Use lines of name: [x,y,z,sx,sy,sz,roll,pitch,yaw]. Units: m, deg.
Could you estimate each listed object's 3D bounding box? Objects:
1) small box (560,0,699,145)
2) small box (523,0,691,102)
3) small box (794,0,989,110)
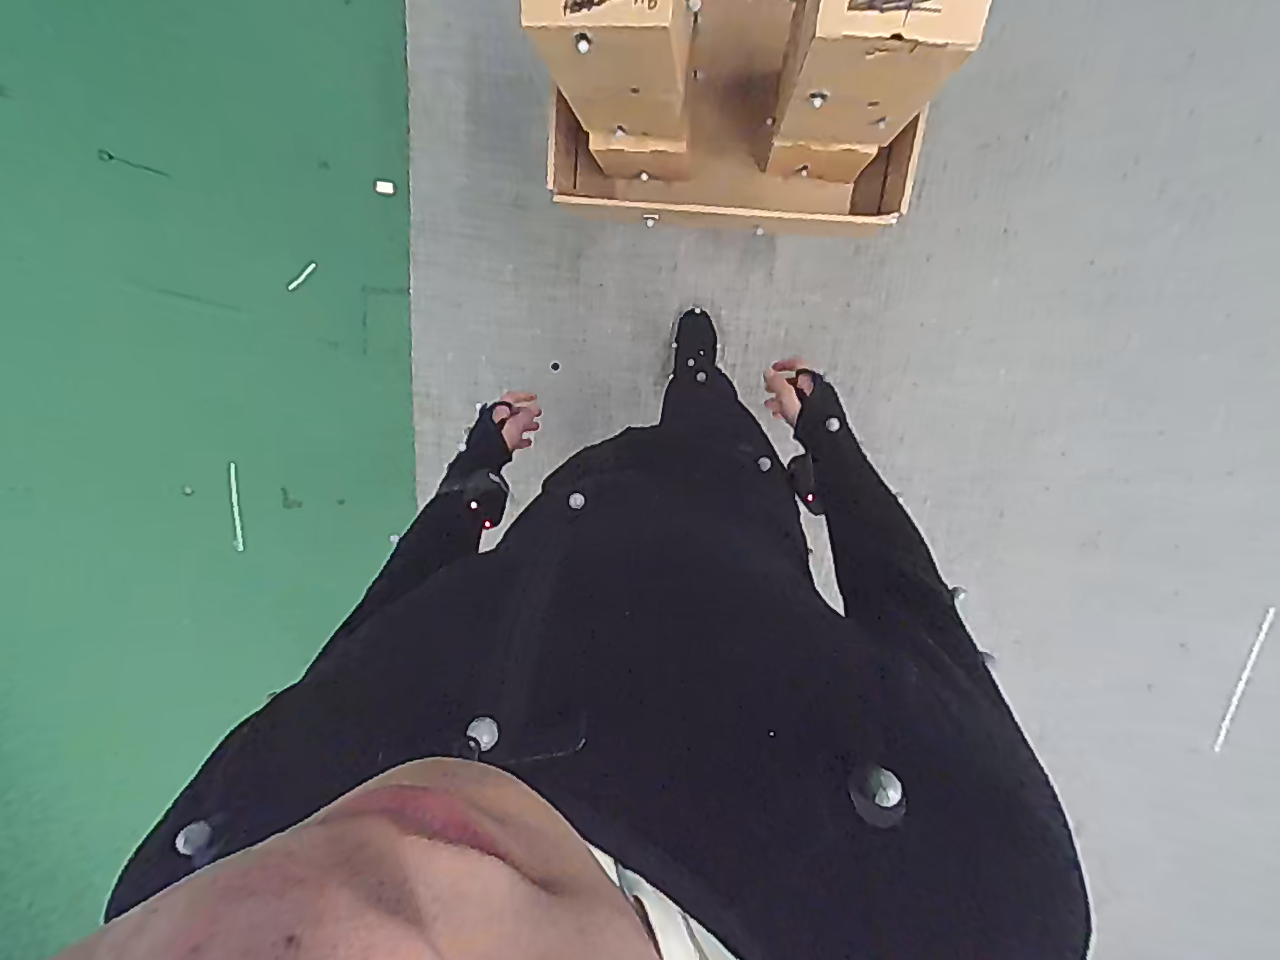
small box: [-0.008,-0.622,0.789,0.168,0.176,0.179,9,105,6]
small box: [-0.028,-0.582,0.632,0.168,0.176,0.179,6,103,7]
small box: [0.277,-0.544,0.600,0.168,0.176,0.179,8,105,4]
